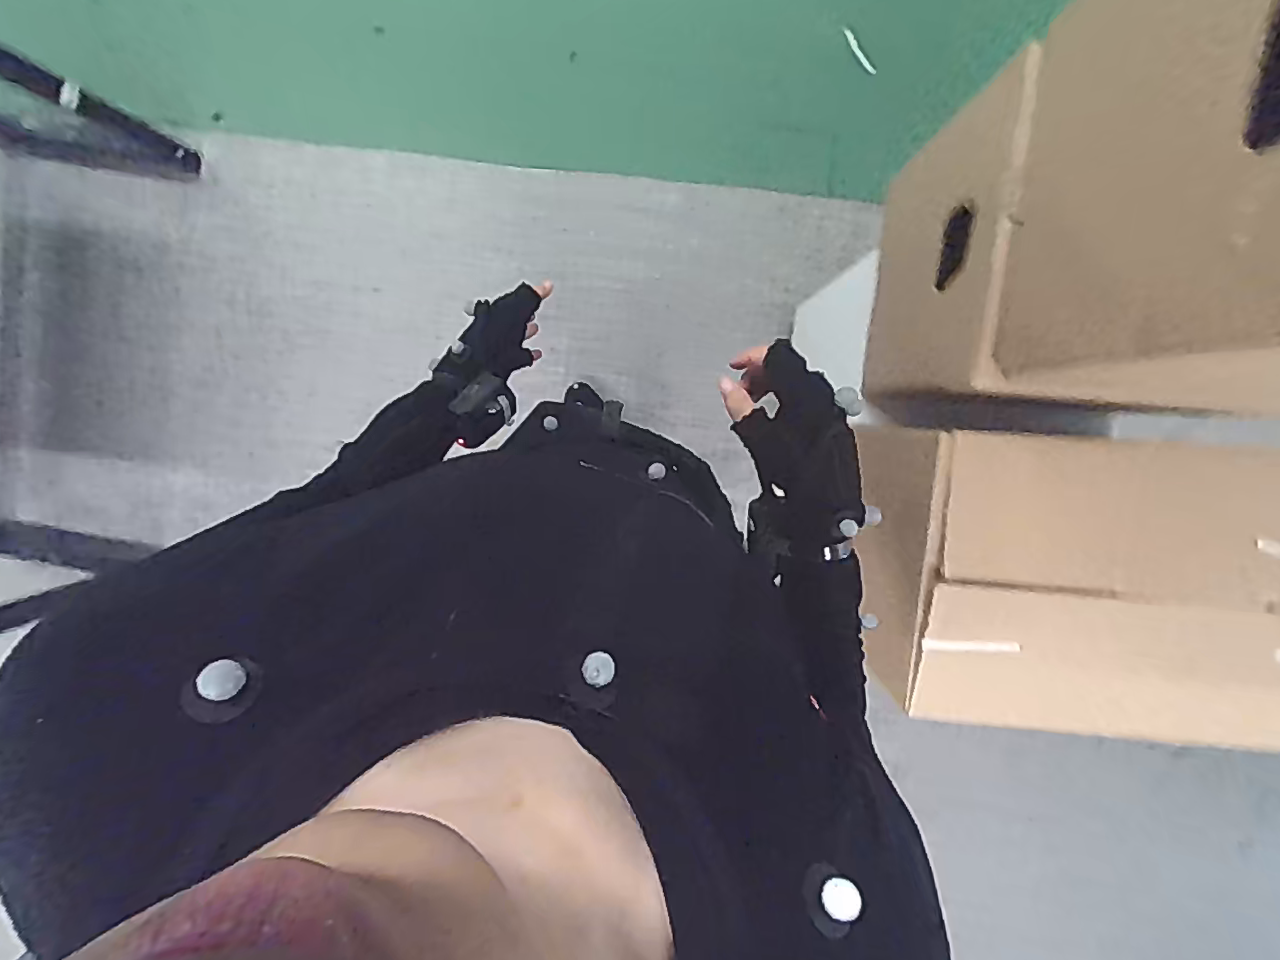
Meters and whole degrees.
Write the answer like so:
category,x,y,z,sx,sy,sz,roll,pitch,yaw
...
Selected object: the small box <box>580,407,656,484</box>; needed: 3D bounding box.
category,x,y,z,sx,sy,sz,roll,pitch,yaw
small box,-0.060,-0.096,1.411,0.168,0.176,0.179,-7,100,-12
